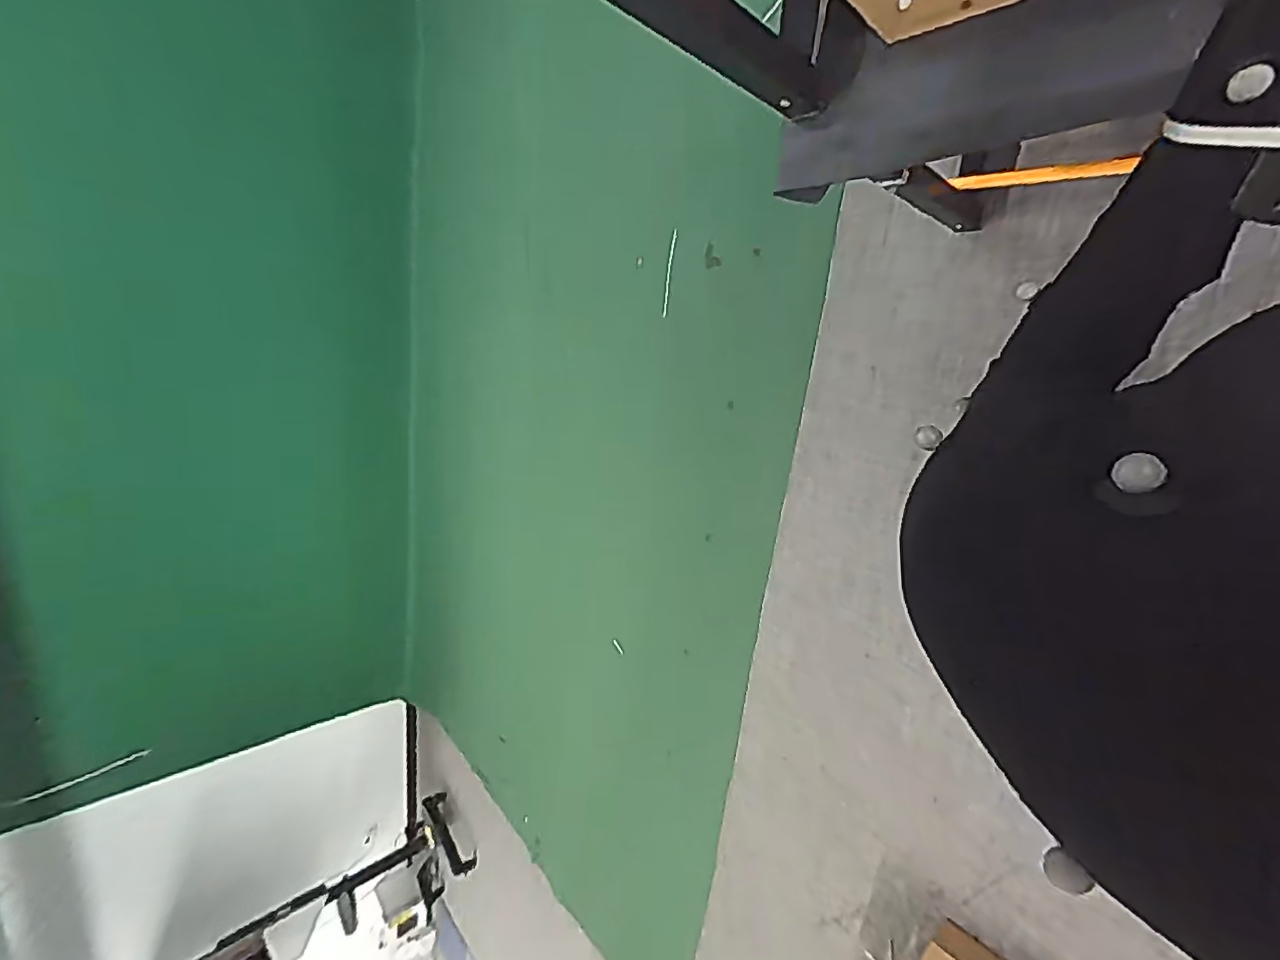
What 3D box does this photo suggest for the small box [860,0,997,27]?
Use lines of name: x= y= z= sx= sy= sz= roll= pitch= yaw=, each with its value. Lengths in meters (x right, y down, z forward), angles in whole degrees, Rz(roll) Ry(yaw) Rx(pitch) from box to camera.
small box: x=0.339 y=-0.645 z=0.593 sx=0.168 sy=0.176 sz=0.179 roll=19 pitch=109 yaw=44
